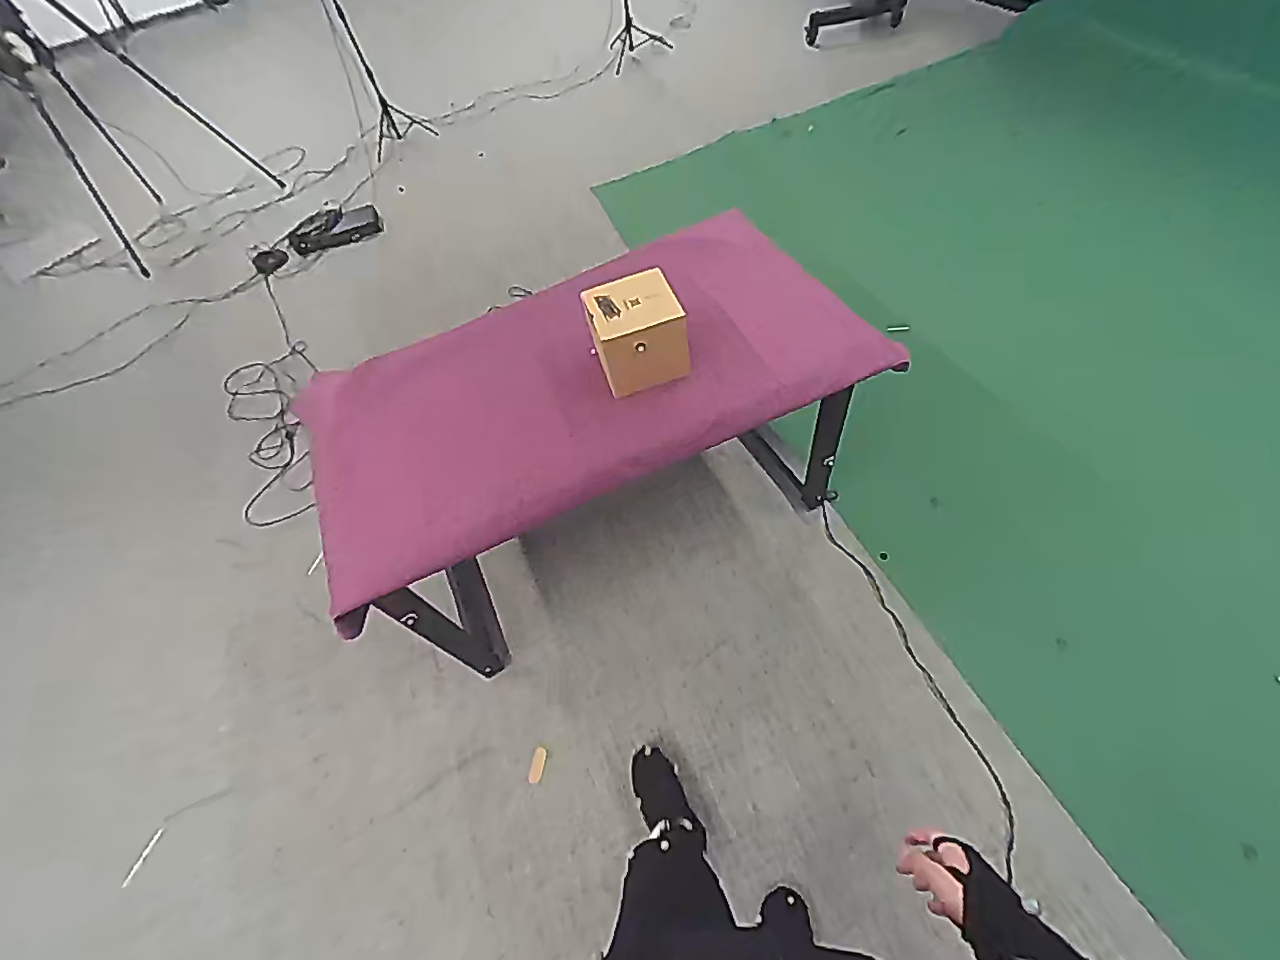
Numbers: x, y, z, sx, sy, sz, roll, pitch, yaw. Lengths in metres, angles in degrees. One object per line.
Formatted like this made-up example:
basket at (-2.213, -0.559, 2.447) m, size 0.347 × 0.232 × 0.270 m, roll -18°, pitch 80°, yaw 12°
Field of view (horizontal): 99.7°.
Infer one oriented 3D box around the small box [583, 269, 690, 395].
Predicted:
small box at (-0.003, -0.306, 1.142) m, size 0.179 × 0.176 × 0.168 m, roll -19°, pitch 56°, yaw -3°
